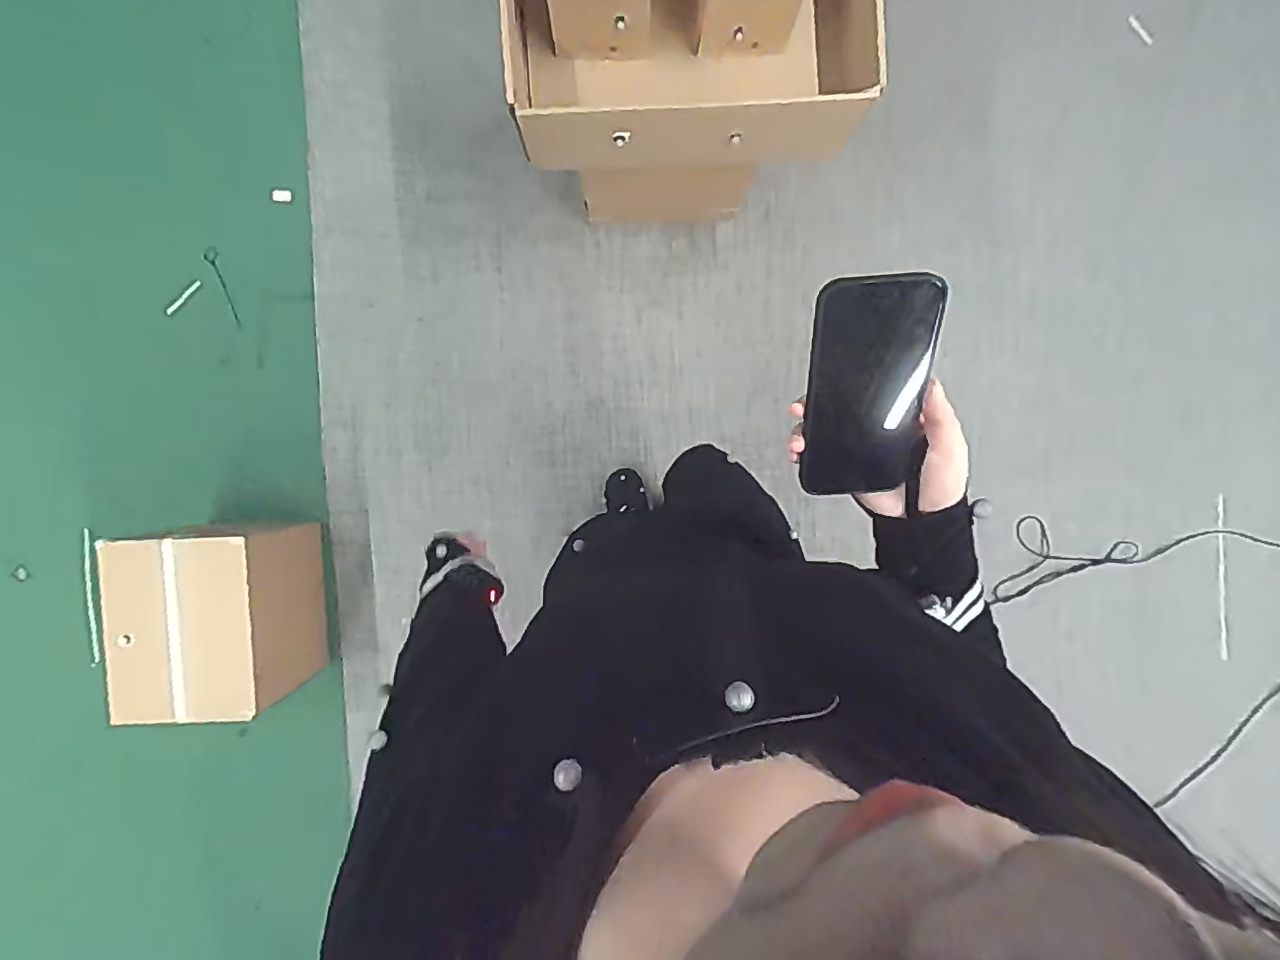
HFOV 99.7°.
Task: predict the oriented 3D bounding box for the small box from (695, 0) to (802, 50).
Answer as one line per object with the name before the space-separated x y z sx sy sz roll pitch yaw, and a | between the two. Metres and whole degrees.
small box | 0.182 -0.872 0.906 0.168 0.176 0.179 -4 94 -1
